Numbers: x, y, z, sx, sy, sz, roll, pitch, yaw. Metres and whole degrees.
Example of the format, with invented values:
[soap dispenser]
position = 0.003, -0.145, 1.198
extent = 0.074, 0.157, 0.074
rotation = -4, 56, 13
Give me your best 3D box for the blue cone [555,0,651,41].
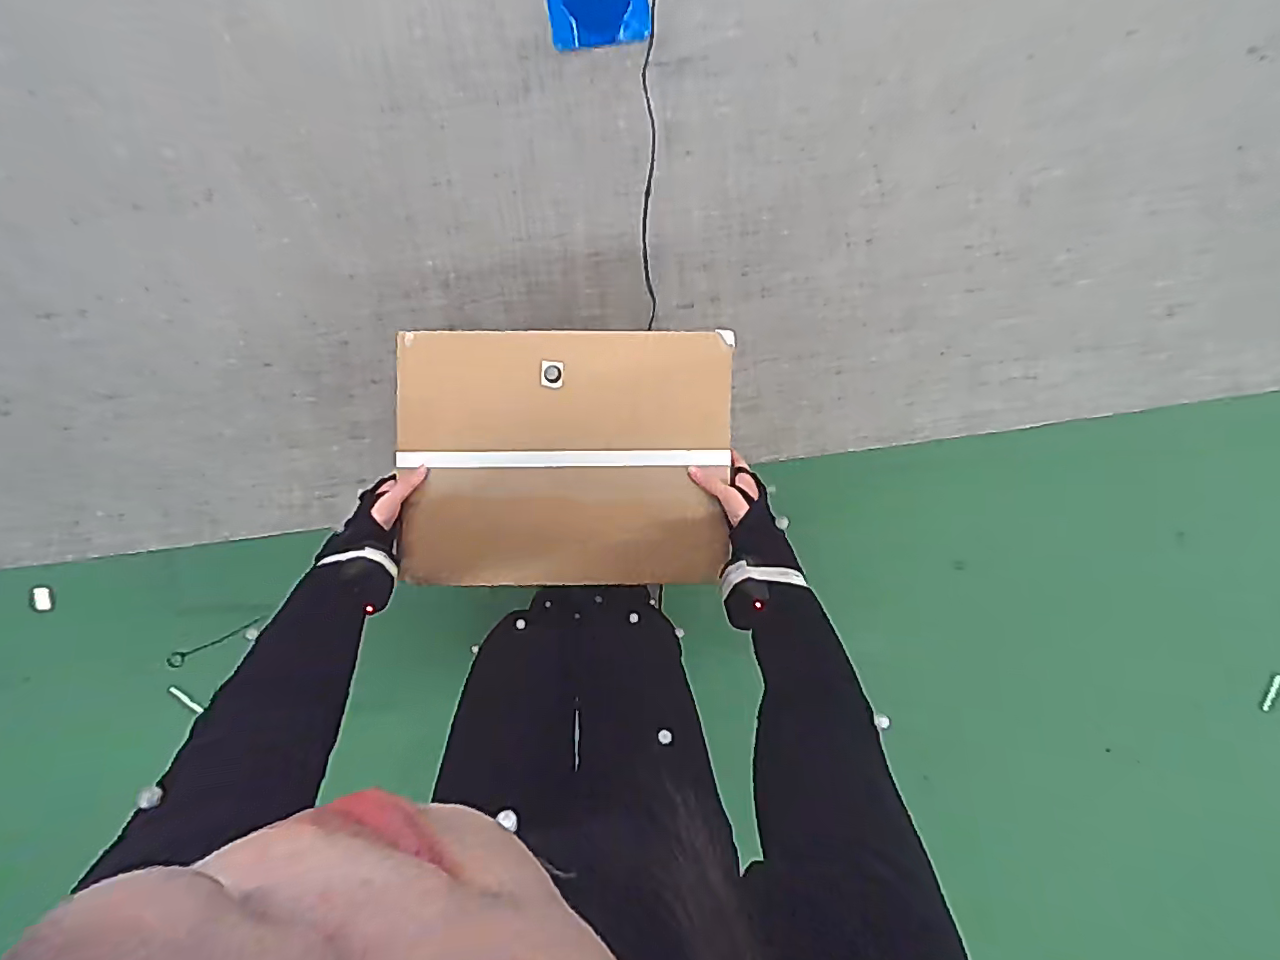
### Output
[blue cone]
position = -0.079, -0.945, 0.883
extent = 0.193, 0.380, 0.192
rotation = -11, 95, 0
